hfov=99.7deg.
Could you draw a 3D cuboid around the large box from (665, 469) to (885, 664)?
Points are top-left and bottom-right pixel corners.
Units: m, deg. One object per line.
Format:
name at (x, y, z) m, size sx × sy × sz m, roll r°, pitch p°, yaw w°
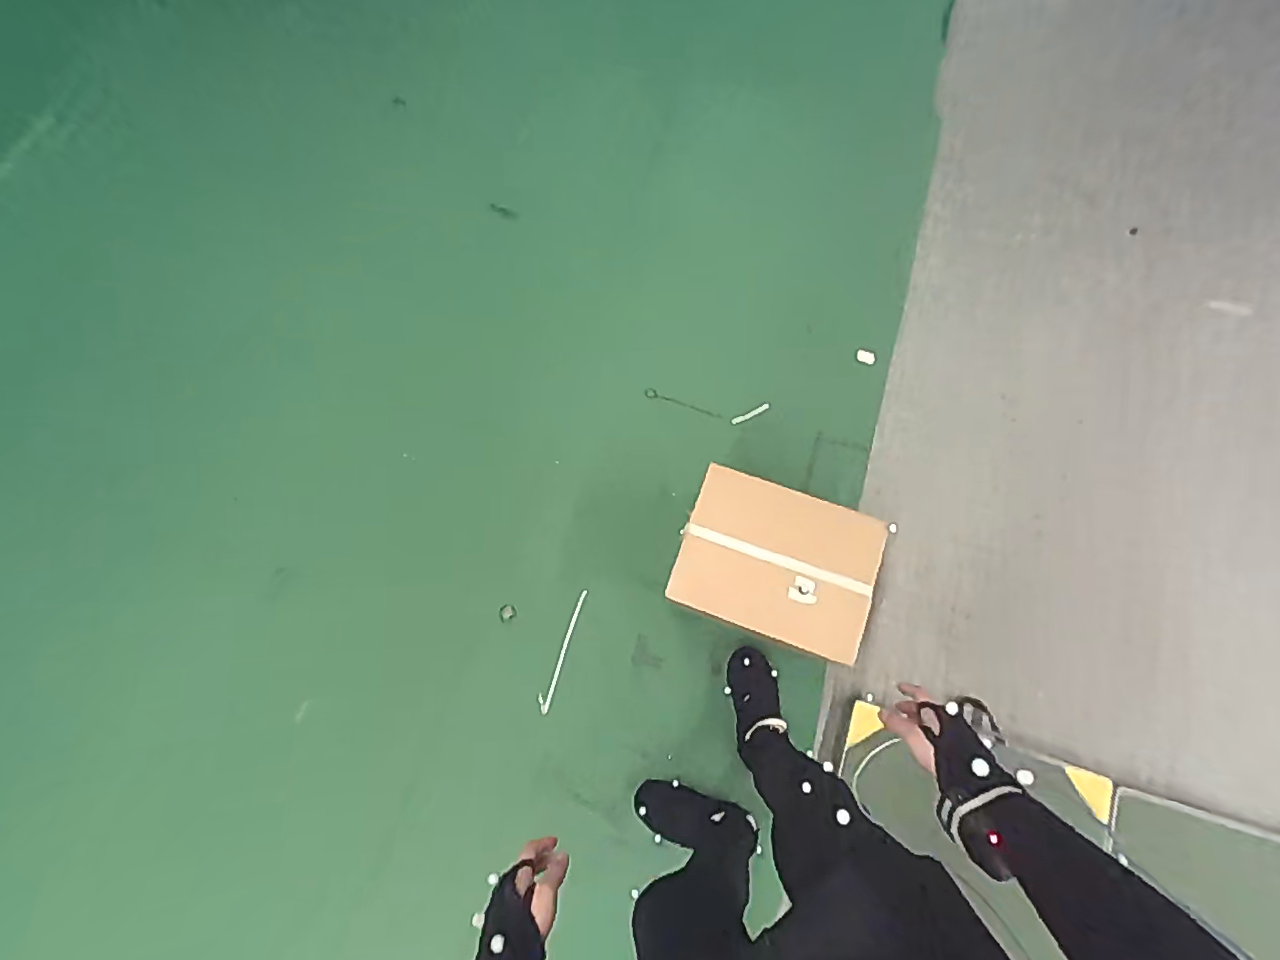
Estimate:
large box at (0.293, 0.211, 1.288) m, size 0.408 × 0.320 × 0.320 m, roll 19°, pitch 78°, yaw 7°
